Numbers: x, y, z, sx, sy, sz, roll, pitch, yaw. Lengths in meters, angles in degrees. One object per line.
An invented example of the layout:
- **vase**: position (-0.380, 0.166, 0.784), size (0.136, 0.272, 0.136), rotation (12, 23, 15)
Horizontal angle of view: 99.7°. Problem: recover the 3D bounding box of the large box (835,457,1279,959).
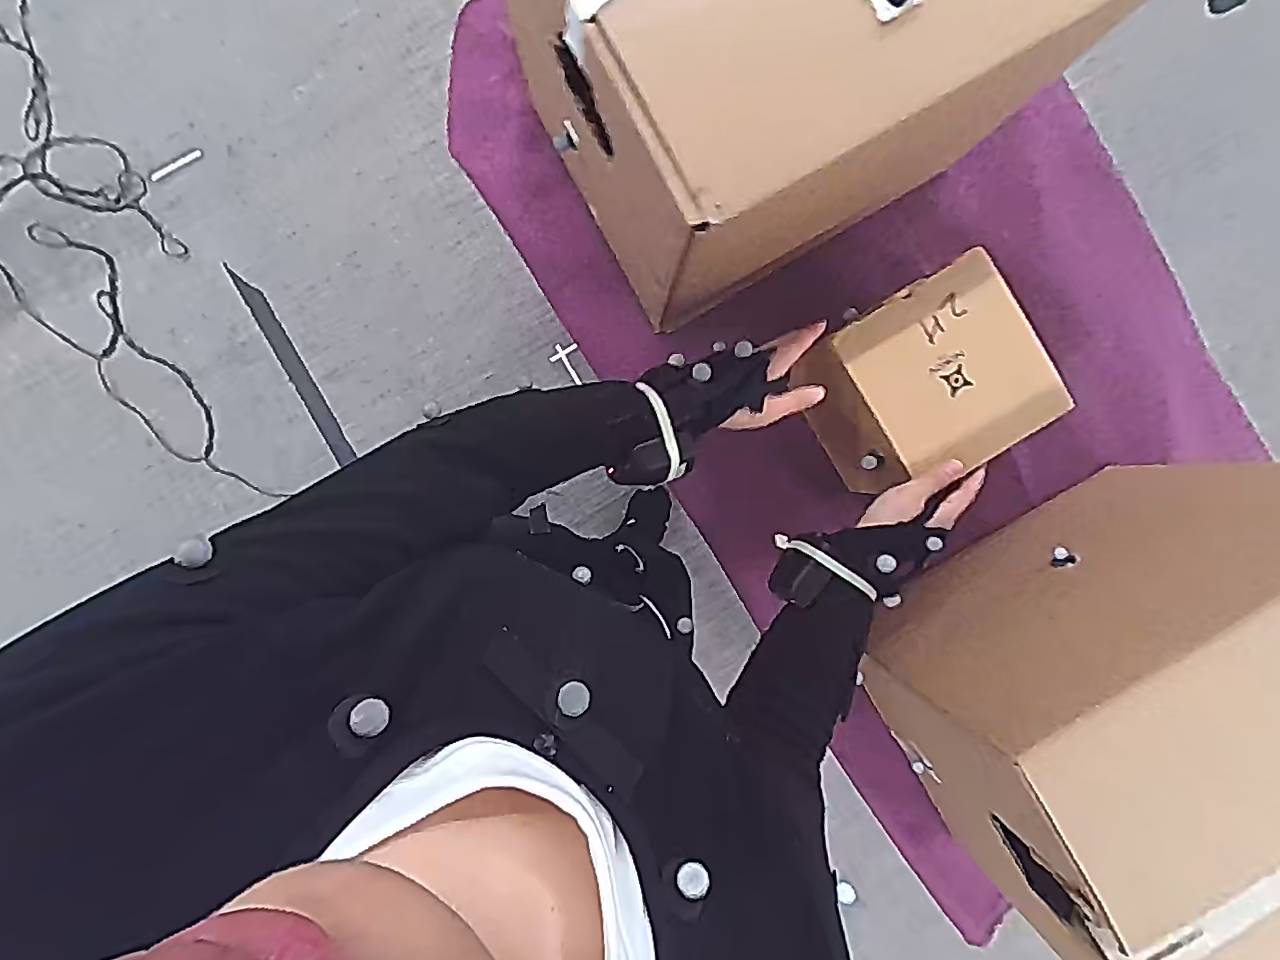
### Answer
- **large box**: position (0.481, 0.210, 0.516), size (0.408, 0.320, 0.320), rotation (-30, 92, -2)
